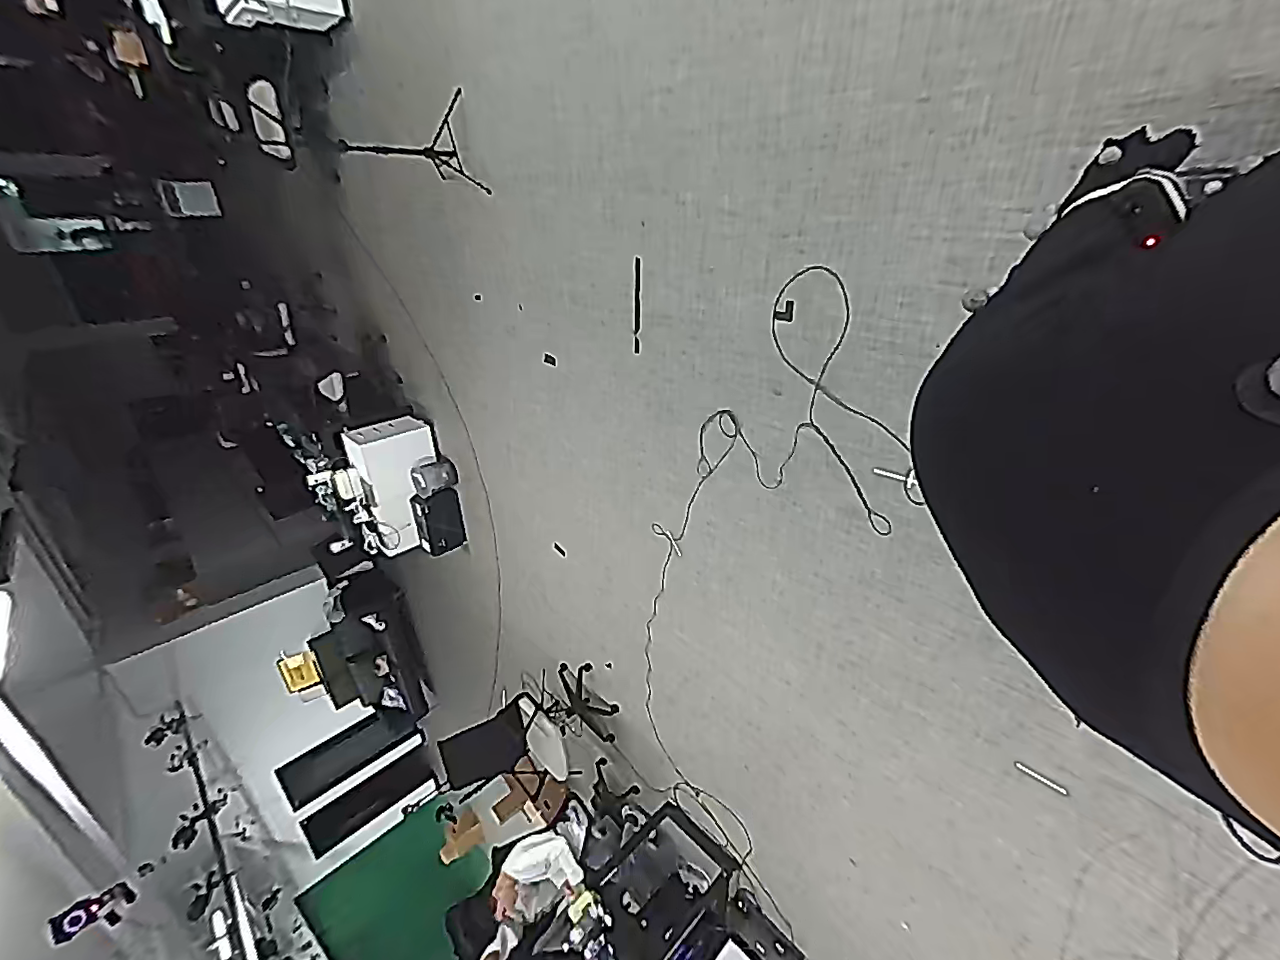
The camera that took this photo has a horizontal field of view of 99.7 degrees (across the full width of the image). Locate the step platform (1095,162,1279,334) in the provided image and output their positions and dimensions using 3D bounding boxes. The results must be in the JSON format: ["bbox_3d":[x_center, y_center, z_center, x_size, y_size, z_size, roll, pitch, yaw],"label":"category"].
[{"bbox_3d":[1.236,-0.401,0.933,0.684,0.204,0.286,22,125,40],"label":"step platform"}]
